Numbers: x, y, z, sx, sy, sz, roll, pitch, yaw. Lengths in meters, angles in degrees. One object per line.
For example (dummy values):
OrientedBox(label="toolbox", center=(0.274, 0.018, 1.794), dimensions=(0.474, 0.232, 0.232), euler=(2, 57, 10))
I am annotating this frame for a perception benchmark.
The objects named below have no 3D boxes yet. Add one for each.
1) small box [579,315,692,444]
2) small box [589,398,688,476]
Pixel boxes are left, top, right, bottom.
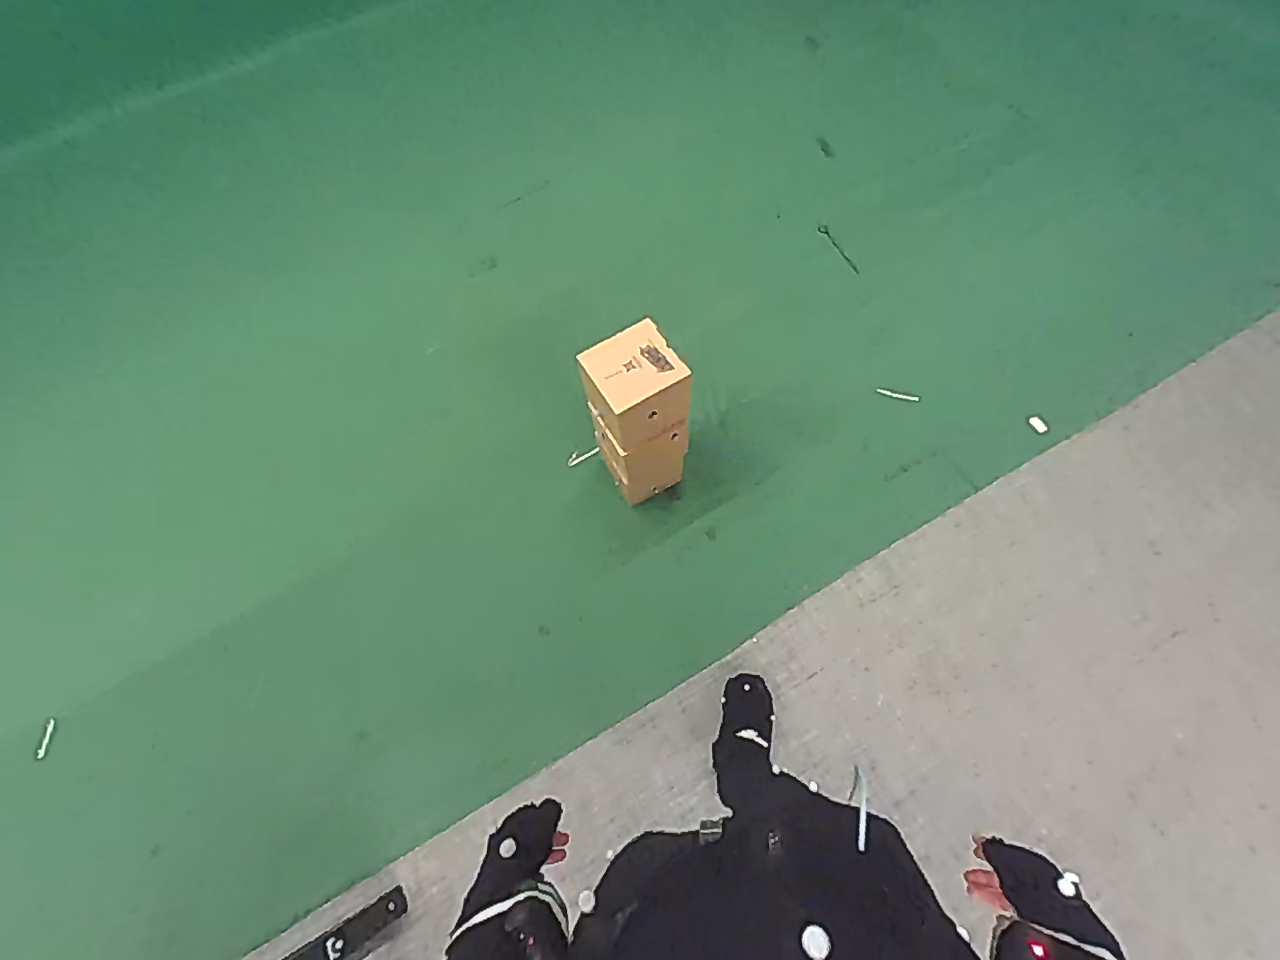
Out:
OrientedBox(label="small box", center=(-0.008, -0.207, 1.150), dimensions=(0.179, 0.176, 0.168), euler=(-30, 69, -8))
OrientedBox(label="small box", center=(0.001, -0.135, 1.297), dimensions=(0.179, 0.176, 0.168), euler=(-29, 69, -9))
